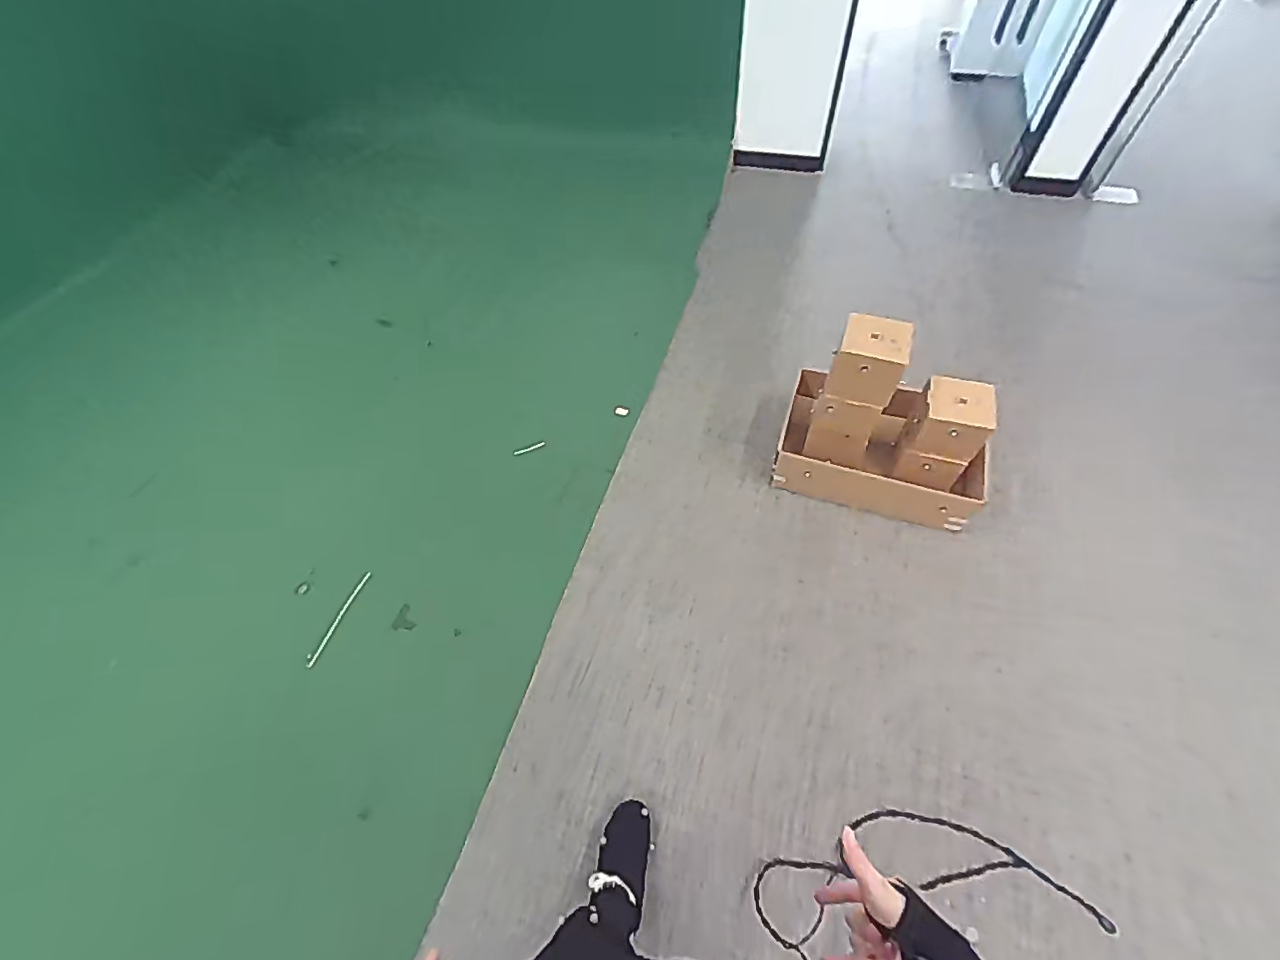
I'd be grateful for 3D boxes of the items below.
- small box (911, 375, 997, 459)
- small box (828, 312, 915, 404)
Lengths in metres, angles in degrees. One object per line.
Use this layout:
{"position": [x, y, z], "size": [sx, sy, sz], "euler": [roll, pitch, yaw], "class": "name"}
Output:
{"position": [0.916, -0.180, 1.587], "size": [0.179, 0.176, 0.168], "euler": [13, 60, 13], "class": "small box"}
{"position": [0.641, -0.337, 1.511], "size": [0.179, 0.176, 0.168], "euler": [16, 59, 14], "class": "small box"}
